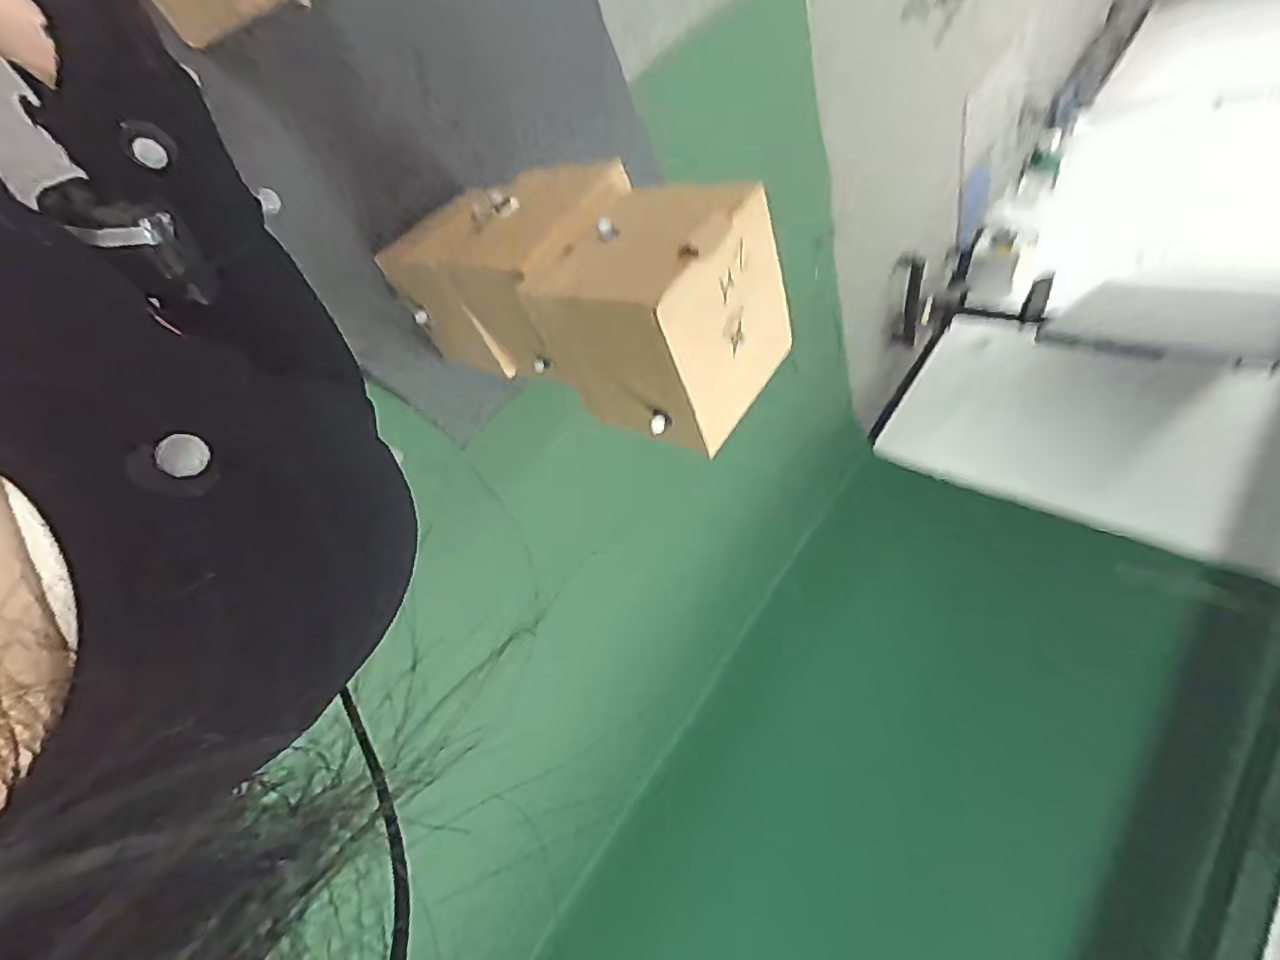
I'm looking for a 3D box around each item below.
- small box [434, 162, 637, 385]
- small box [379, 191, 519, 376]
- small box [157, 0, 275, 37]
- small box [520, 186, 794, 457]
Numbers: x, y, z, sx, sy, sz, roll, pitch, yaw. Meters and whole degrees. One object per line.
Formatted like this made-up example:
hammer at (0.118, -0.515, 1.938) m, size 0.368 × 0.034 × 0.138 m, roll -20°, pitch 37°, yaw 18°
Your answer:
small box at (-0.091, -0.226, 0.616) m, size 0.168 × 0.176 × 0.179 m, roll -56°, pitch 139°, yaw -18°
small box at (-0.205, -0.269, 0.724) m, size 0.179 × 0.176 × 0.168 m, roll -49°, pitch 138°, yaw -22°
small box at (-0.355, -0.505, 0.432) m, size 0.168 × 0.176 × 0.179 m, roll -51°, pitch 139°, yaw -19°
small box at (0.023, -0.154, 0.517) m, size 0.168 × 0.176 × 0.179 m, roll -52°, pitch 140°, yaw -21°
